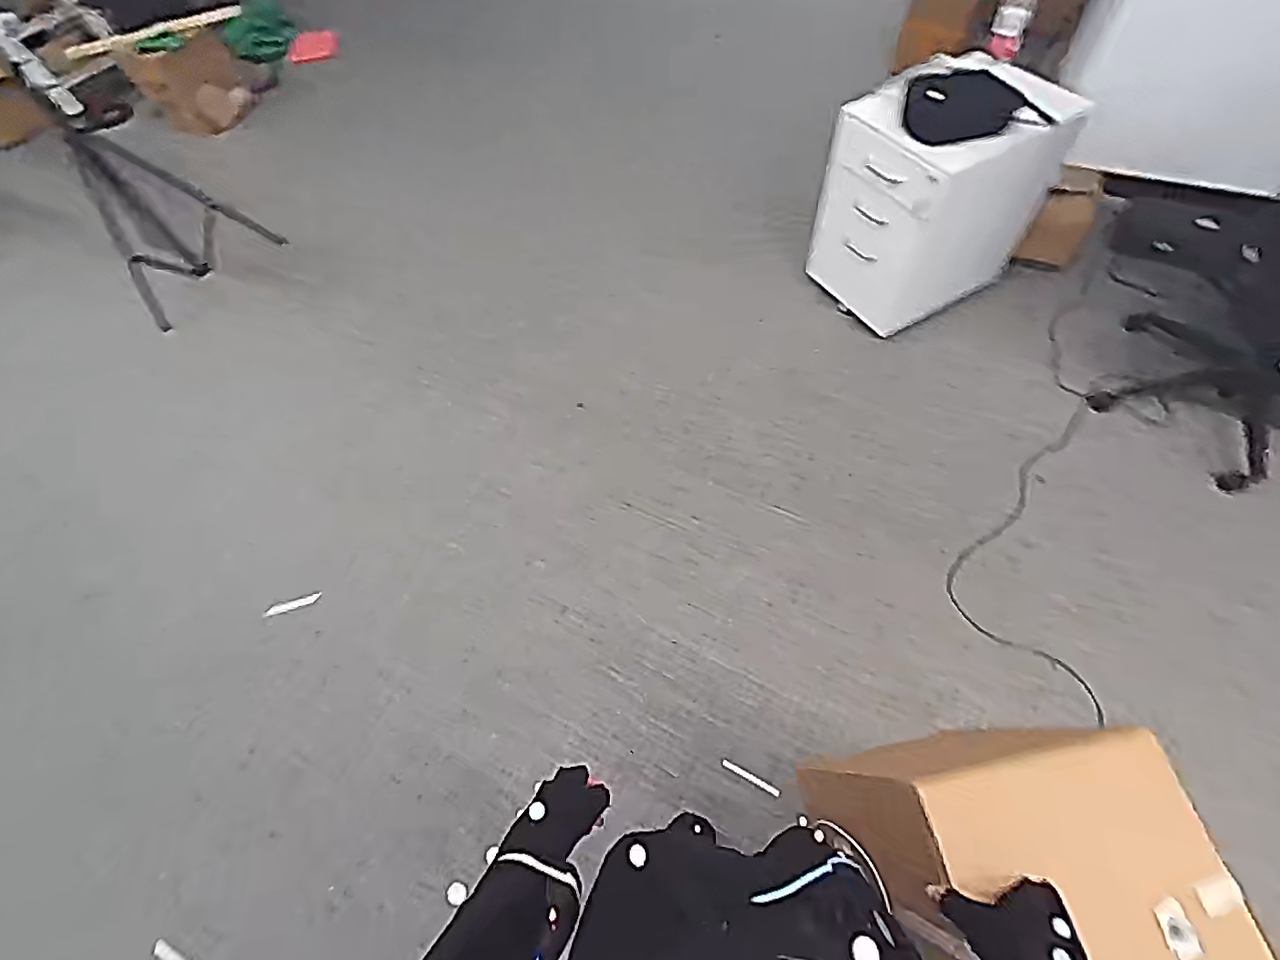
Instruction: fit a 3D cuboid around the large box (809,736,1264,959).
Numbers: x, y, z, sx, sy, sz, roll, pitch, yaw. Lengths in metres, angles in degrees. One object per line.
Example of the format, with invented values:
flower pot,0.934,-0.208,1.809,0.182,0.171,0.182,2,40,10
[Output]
large box,0.480,0.547,0.740,0.320,0.408,0.320,-7,66,-5
